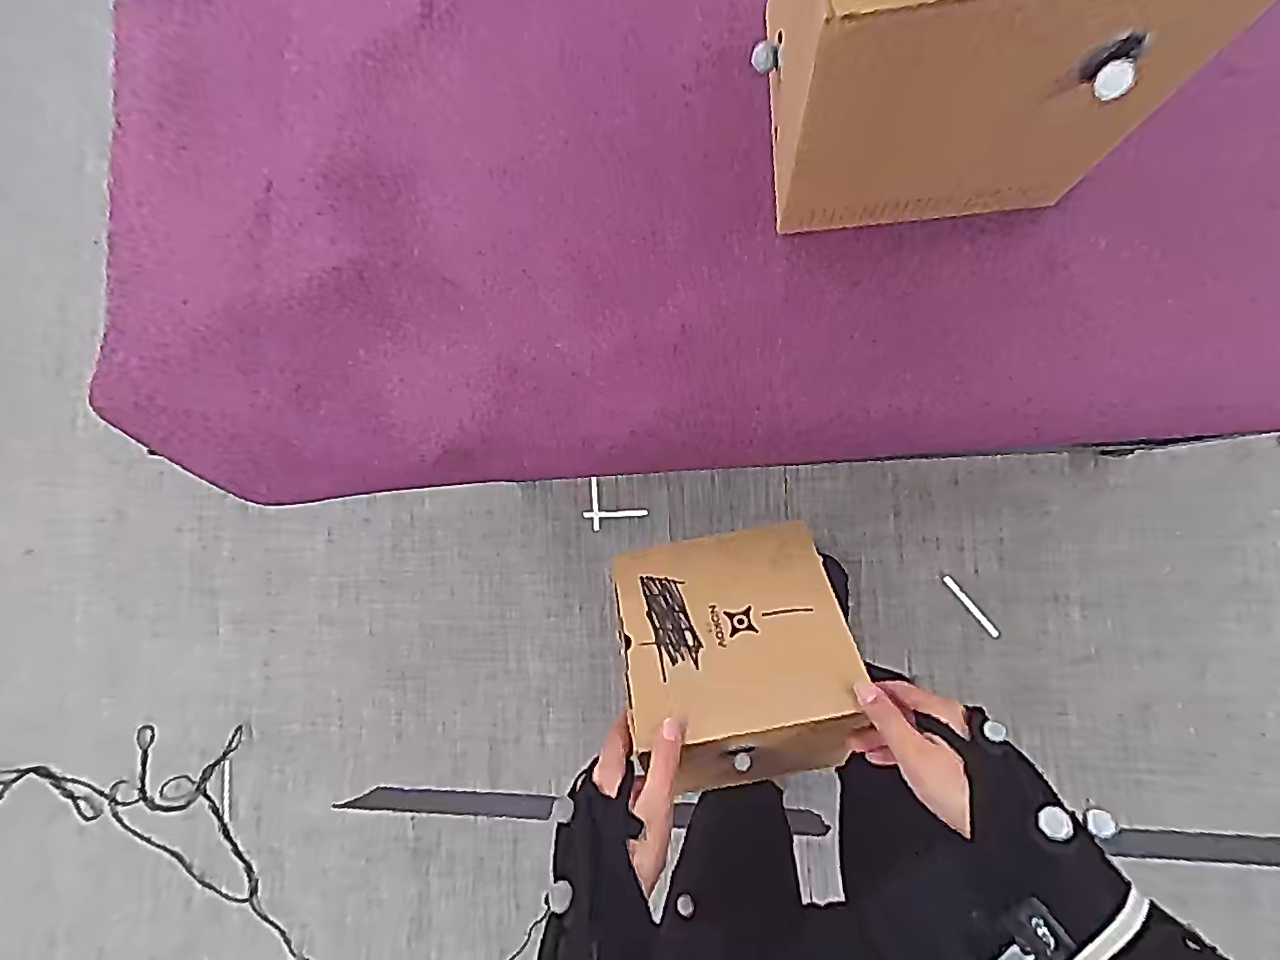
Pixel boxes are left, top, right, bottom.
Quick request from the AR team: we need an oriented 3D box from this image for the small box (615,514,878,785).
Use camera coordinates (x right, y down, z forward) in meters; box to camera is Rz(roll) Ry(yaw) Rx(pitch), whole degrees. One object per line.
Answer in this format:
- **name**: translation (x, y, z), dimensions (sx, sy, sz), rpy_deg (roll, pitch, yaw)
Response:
- **small box**: translation (0.082, 0.157, 0.486), dimensions (0.179, 0.176, 0.168), rpy_deg (-10, 49, 0)

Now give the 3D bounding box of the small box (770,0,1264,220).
- **small box**: translation (0.169, -0.265, 0.287), dimensions (0.179, 0.176, 0.168), rpy_deg (-2, 85, 8)
